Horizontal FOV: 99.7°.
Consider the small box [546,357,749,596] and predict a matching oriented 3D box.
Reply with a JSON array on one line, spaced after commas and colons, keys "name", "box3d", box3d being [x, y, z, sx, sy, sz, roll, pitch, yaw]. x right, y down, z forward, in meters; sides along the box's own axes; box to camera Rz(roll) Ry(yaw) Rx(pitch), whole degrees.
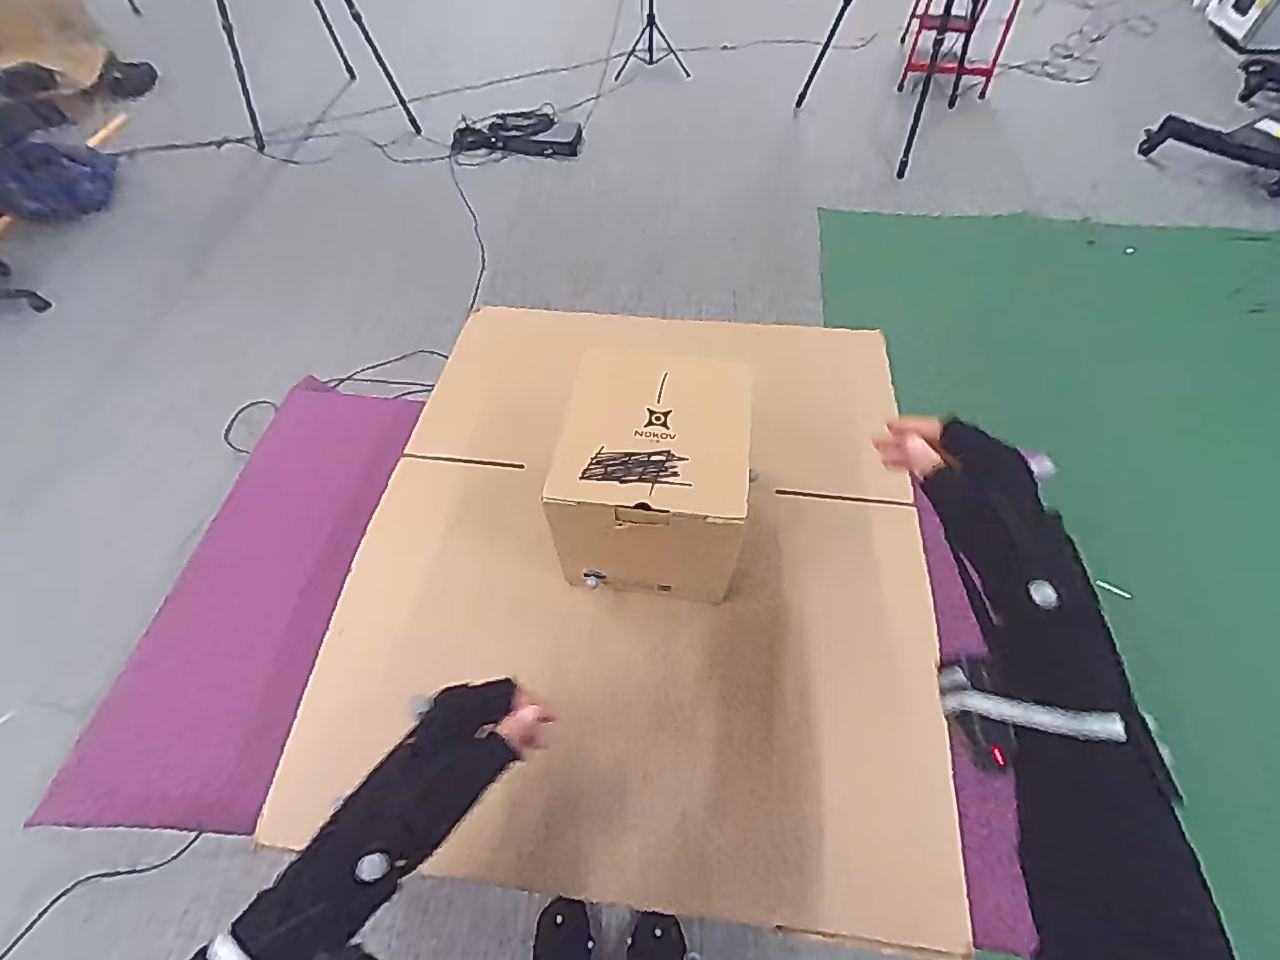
[{"name": "small box", "box3d": [0.015, 0.003, 0.536, 0.168, 0.176, 0.179, 4, 57, 3]}]
